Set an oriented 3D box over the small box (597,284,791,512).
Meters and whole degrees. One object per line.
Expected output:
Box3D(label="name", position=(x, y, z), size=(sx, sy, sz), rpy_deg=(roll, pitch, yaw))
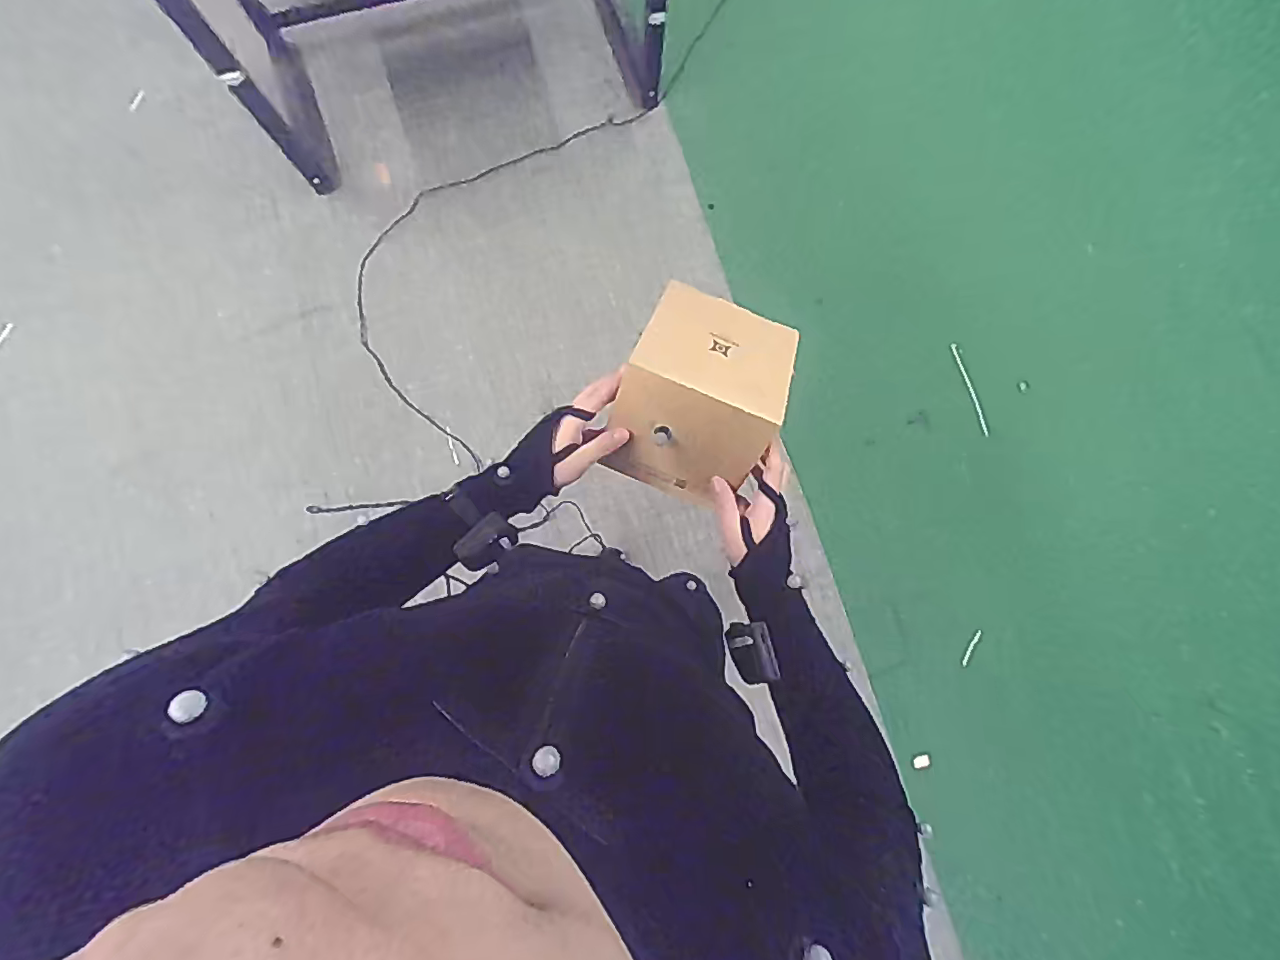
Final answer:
Box3D(label="small box", position=(0.058, -0.091, 0.639), size=(0.168, 0.176, 0.179), rpy_deg=(22, 48, -1))
